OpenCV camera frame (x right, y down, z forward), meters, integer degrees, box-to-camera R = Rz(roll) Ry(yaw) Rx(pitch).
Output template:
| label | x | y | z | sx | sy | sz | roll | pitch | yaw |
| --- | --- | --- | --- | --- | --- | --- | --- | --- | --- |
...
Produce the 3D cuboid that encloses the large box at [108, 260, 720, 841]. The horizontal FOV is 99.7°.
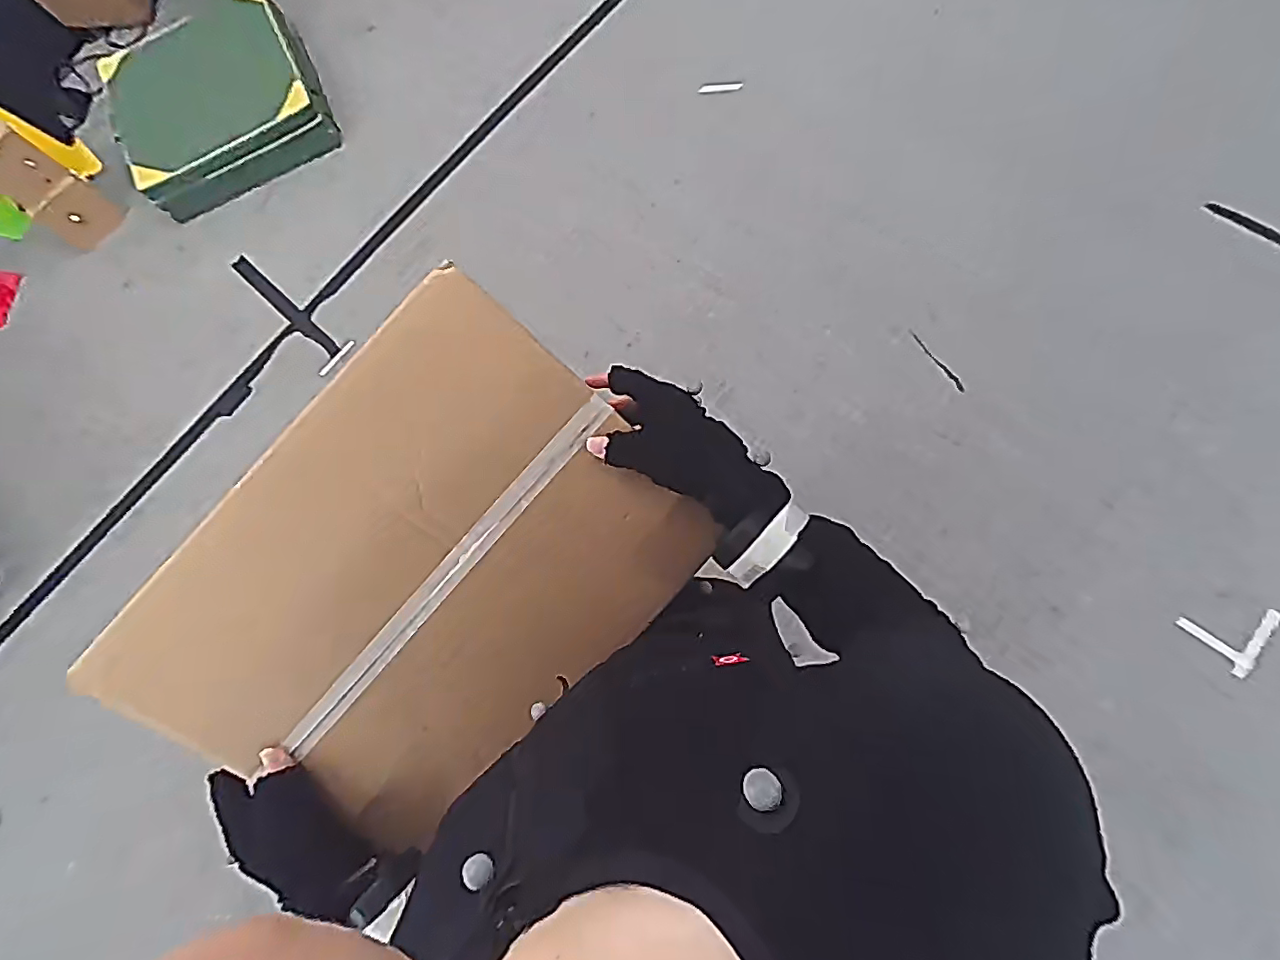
| label | x | y | z | sx | sy | sz | roll | pitch | yaw |
| --- | --- | --- | --- | --- | --- | --- | --- | --- | --- |
| large box | -0.193 | 0.055 | 0.586 | 0.320 | 0.320 | 0.408 | 42 | 90 | -15 |
